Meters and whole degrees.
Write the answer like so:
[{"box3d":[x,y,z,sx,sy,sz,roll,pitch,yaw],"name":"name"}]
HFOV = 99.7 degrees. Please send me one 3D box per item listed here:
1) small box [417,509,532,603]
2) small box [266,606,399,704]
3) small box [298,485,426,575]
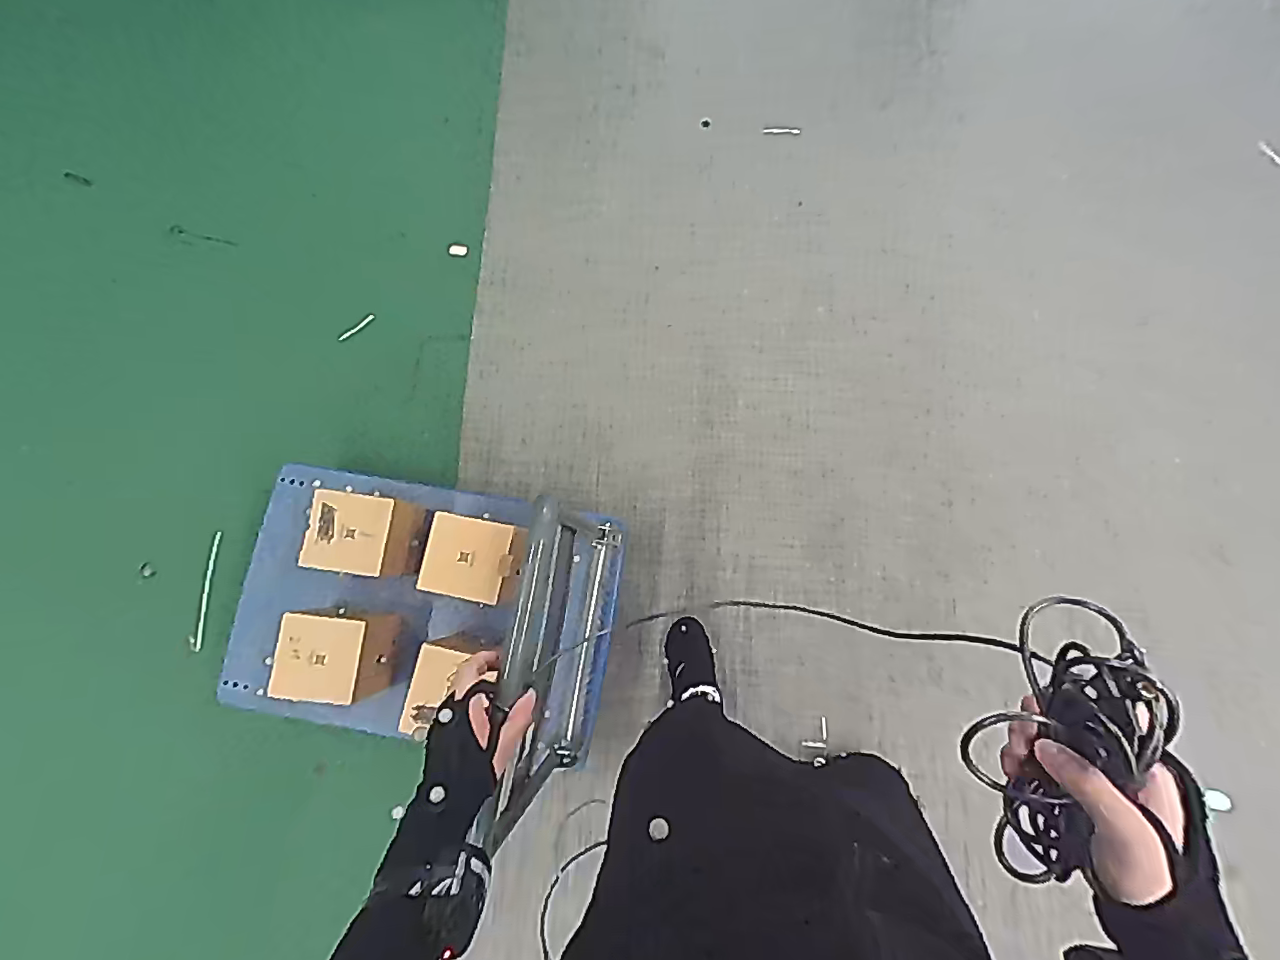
[{"box3d":[-0.354,0.169,1.187,0.179,0.176,0.168,11,81,2],"name":"small box"},{"box3d":[-0.646,0.366,1.160,0.179,0.176,0.168,7,80,2],"name":"small box"},{"box3d":[-0.605,0.115,1.199,0.179,0.176,0.168,9,82,1],"name":"small box"}]
